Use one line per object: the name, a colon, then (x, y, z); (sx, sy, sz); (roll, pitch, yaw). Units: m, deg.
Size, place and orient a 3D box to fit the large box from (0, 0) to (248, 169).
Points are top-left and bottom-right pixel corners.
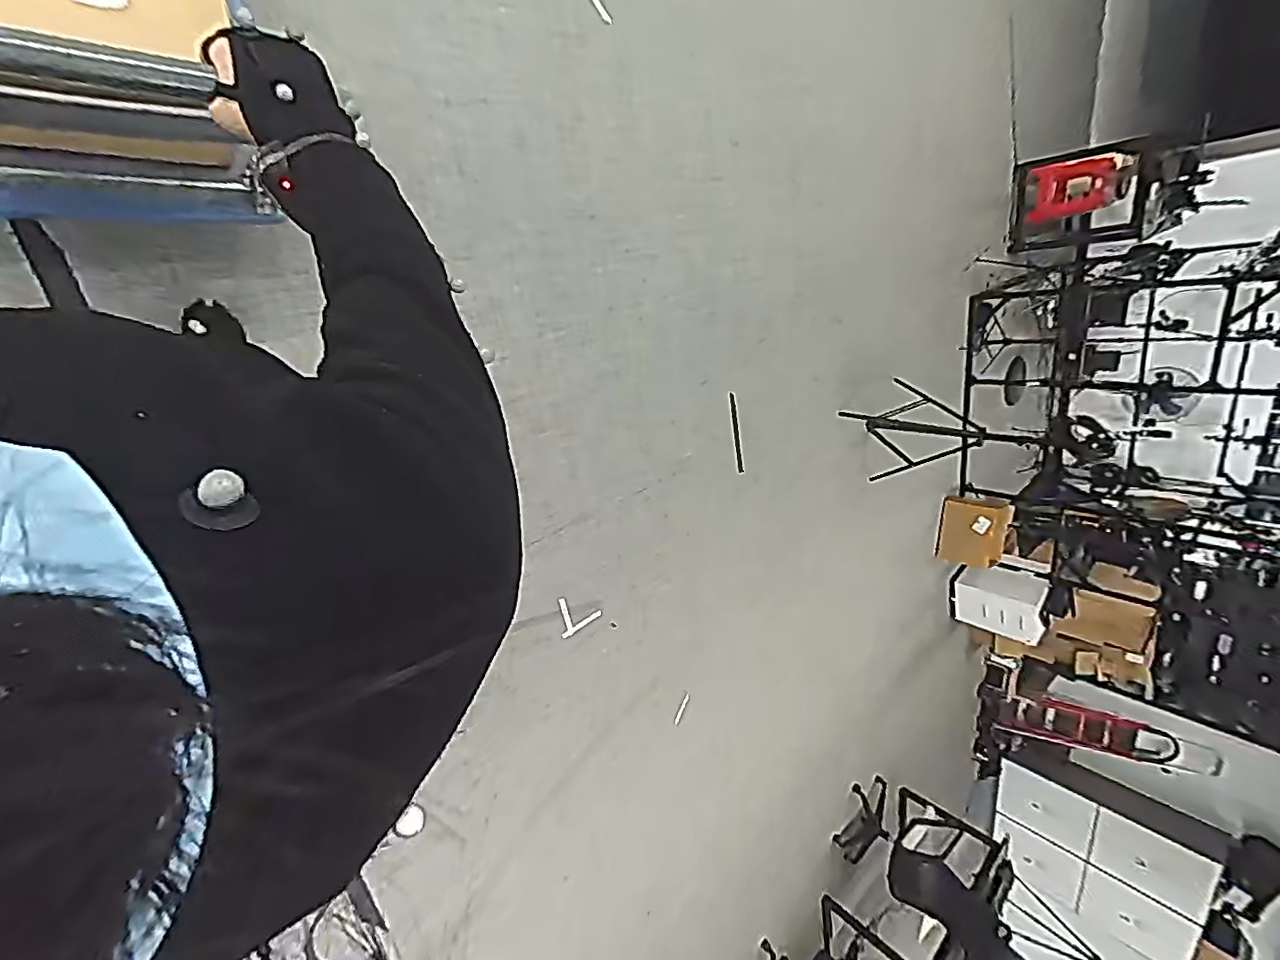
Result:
large box: (-0.818, -0.639, 0.716); (0.408, 0.320, 0.320); (-18, 112, -39)
